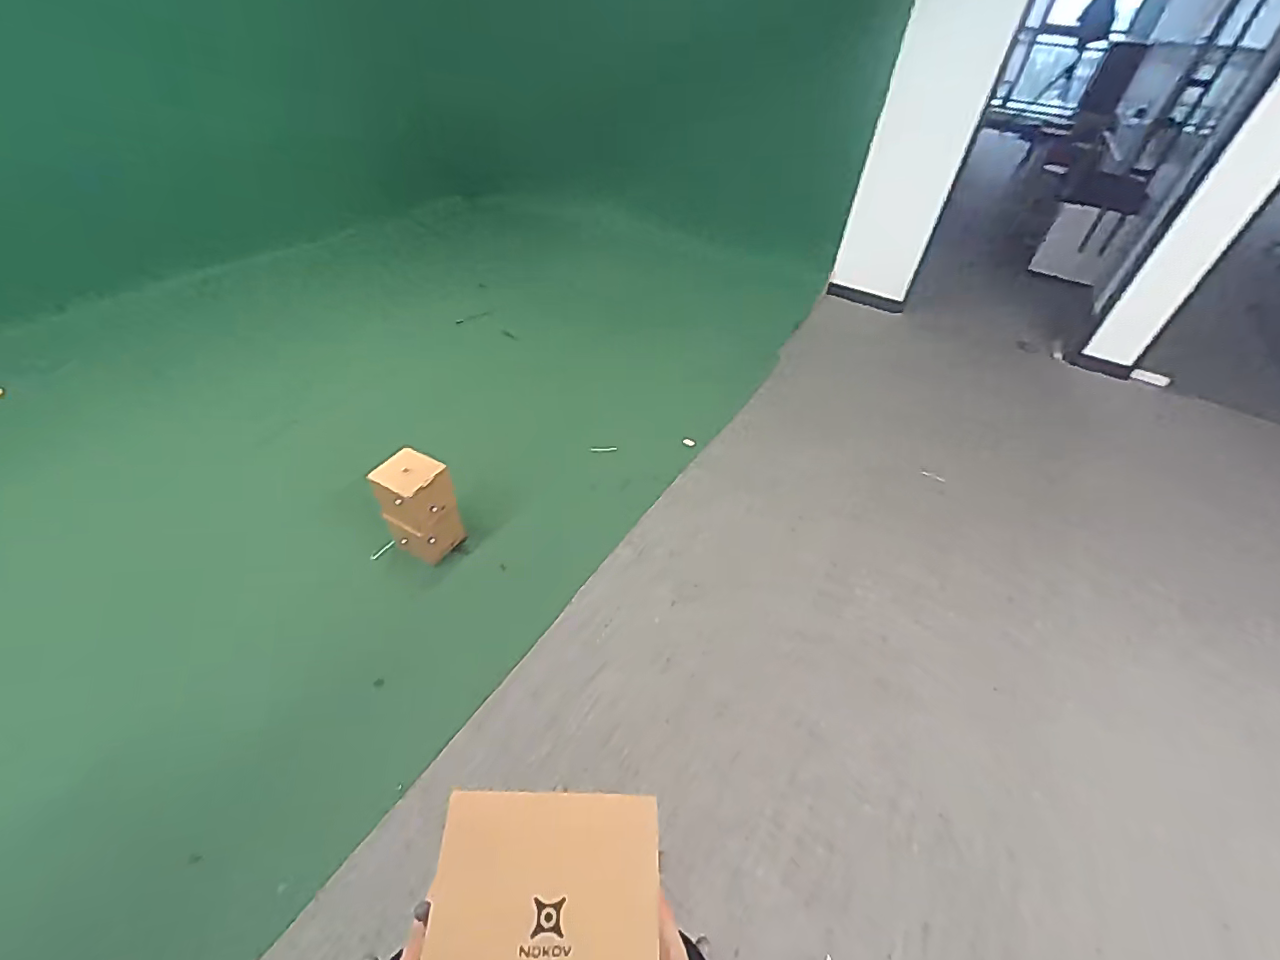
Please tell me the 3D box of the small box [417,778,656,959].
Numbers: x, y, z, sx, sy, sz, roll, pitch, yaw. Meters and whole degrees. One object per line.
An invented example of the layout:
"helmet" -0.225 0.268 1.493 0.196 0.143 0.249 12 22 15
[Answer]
"small box" -0.084 0.360 0.446 0.168 0.176 0.179 6 53 -8

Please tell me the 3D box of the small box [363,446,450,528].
"small box" -0.735 0.025 1.719 0.179 0.176 0.168 23 47 17
